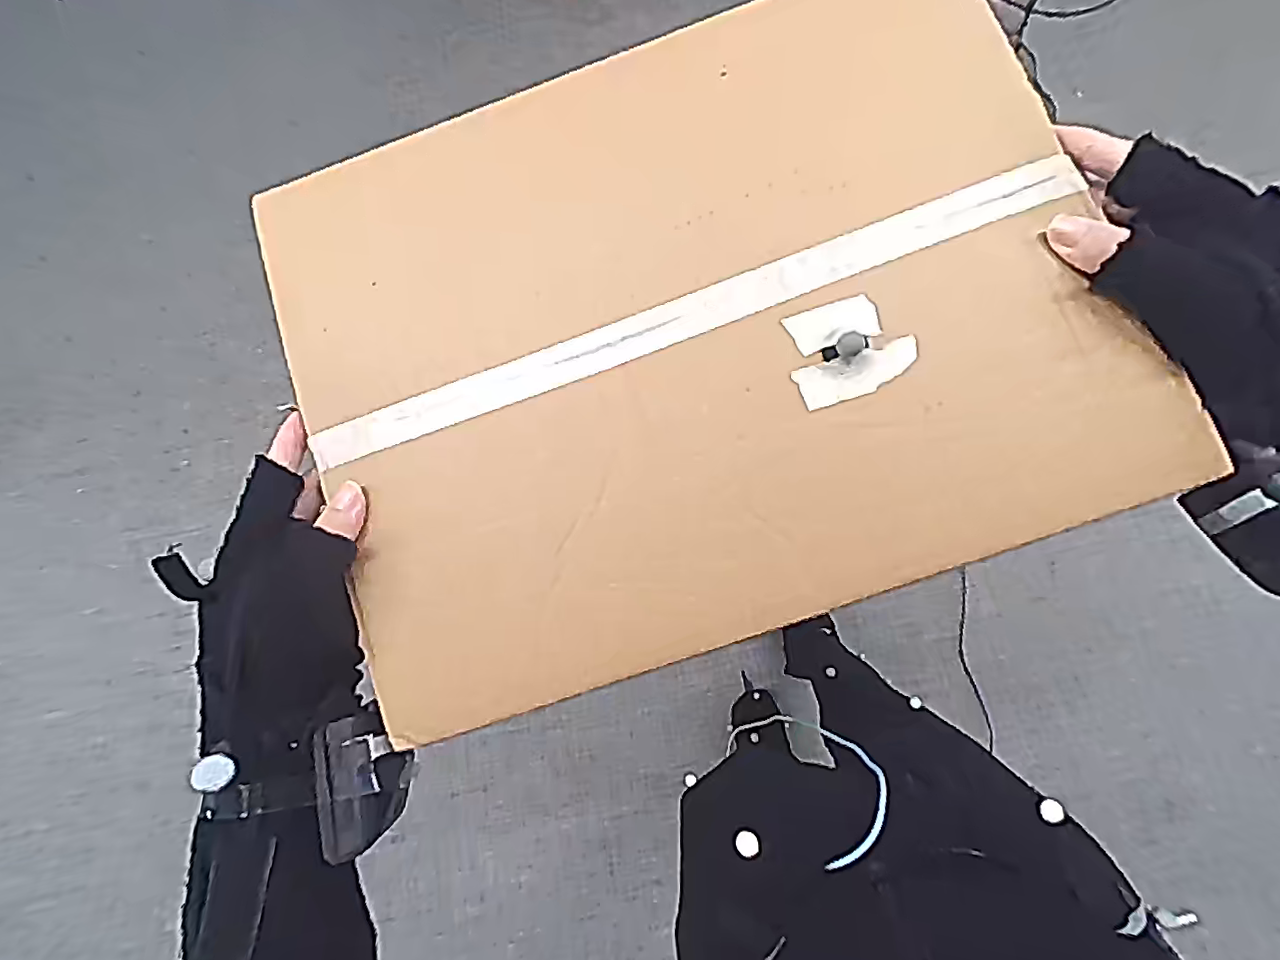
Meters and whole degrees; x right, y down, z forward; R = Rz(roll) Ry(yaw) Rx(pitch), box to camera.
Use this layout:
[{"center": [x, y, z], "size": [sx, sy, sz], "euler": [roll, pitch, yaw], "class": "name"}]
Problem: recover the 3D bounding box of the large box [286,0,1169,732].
[{"center": [0.035, -0.059, 0.438], "size": [0.408, 0.320, 0.320], "euler": [-20, 82, 2], "class": "large box"}]
